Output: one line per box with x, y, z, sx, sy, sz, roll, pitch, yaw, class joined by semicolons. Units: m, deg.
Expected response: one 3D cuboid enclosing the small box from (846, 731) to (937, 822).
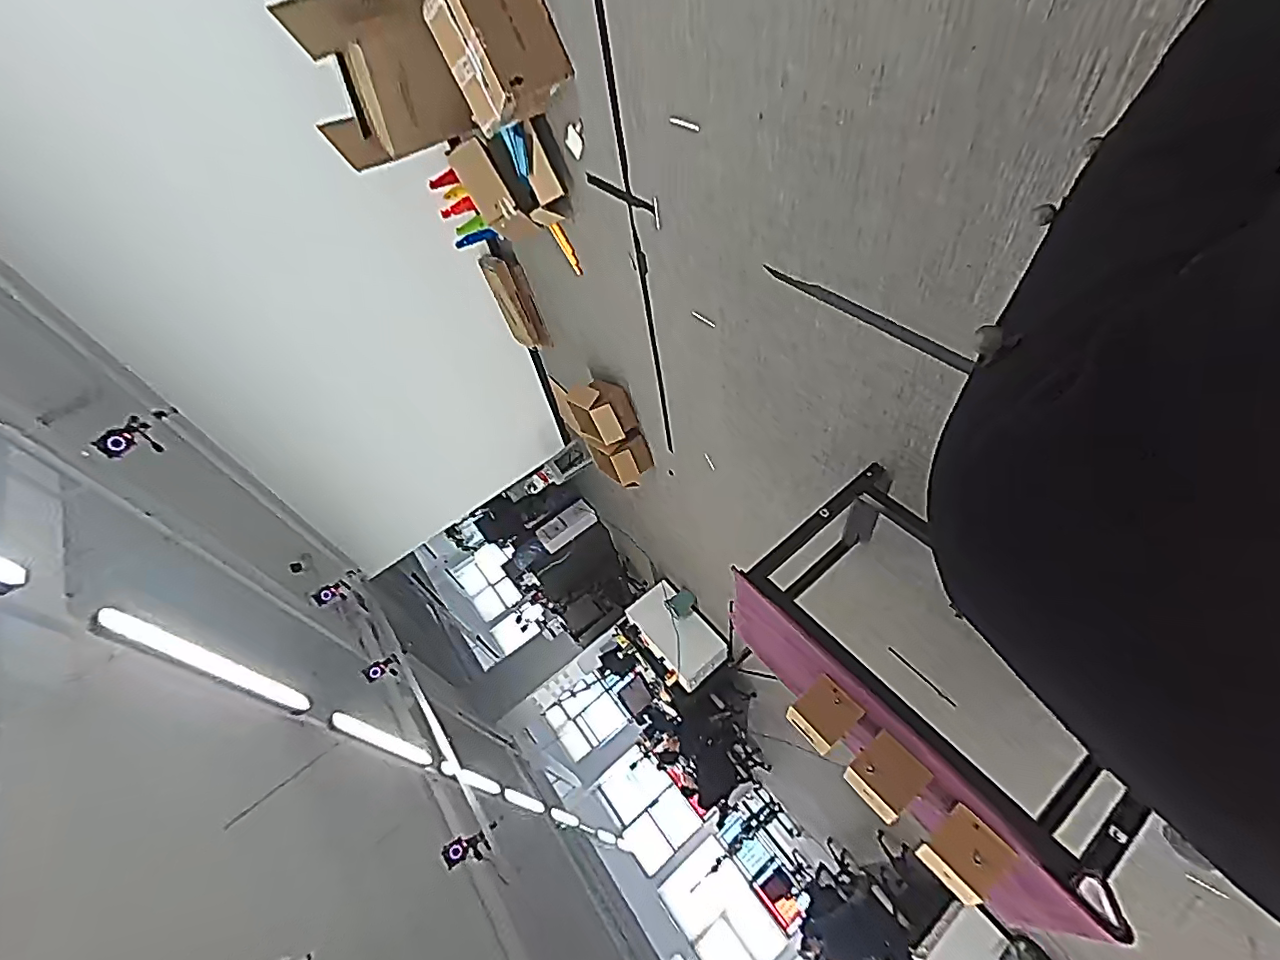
0.770;0.906;1.668;0.179;0.176;0.168;42;160;36;small box

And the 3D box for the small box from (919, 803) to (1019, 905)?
0.928;1.051;1.526;0.168;0.176;0.179;41;159;39;small box
